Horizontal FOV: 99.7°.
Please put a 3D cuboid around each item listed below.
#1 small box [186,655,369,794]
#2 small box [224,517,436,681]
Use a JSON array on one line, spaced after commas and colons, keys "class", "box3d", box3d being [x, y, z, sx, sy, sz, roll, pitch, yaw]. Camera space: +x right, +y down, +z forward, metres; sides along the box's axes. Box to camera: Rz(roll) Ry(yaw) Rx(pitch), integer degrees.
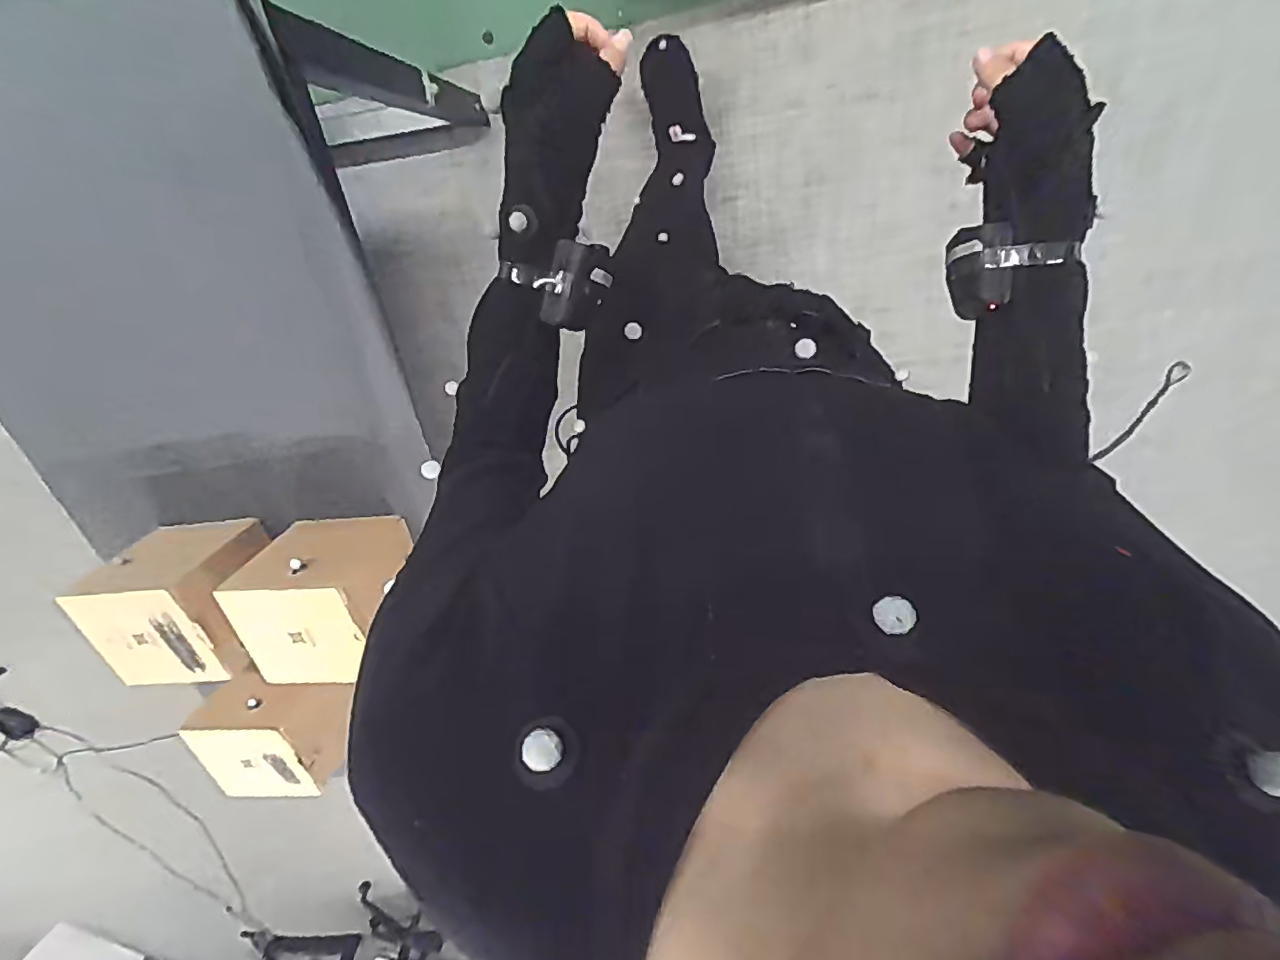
[{"class": "small box", "box3d": [-0.594, 0.404, 0.920, 0.179, 0.176, 0.168, -4, 117, 8]}, {"class": "small box", "box3d": [-0.428, 0.166, 0.780, 0.179, 0.176, 0.168, -4, 117, 8]}]
